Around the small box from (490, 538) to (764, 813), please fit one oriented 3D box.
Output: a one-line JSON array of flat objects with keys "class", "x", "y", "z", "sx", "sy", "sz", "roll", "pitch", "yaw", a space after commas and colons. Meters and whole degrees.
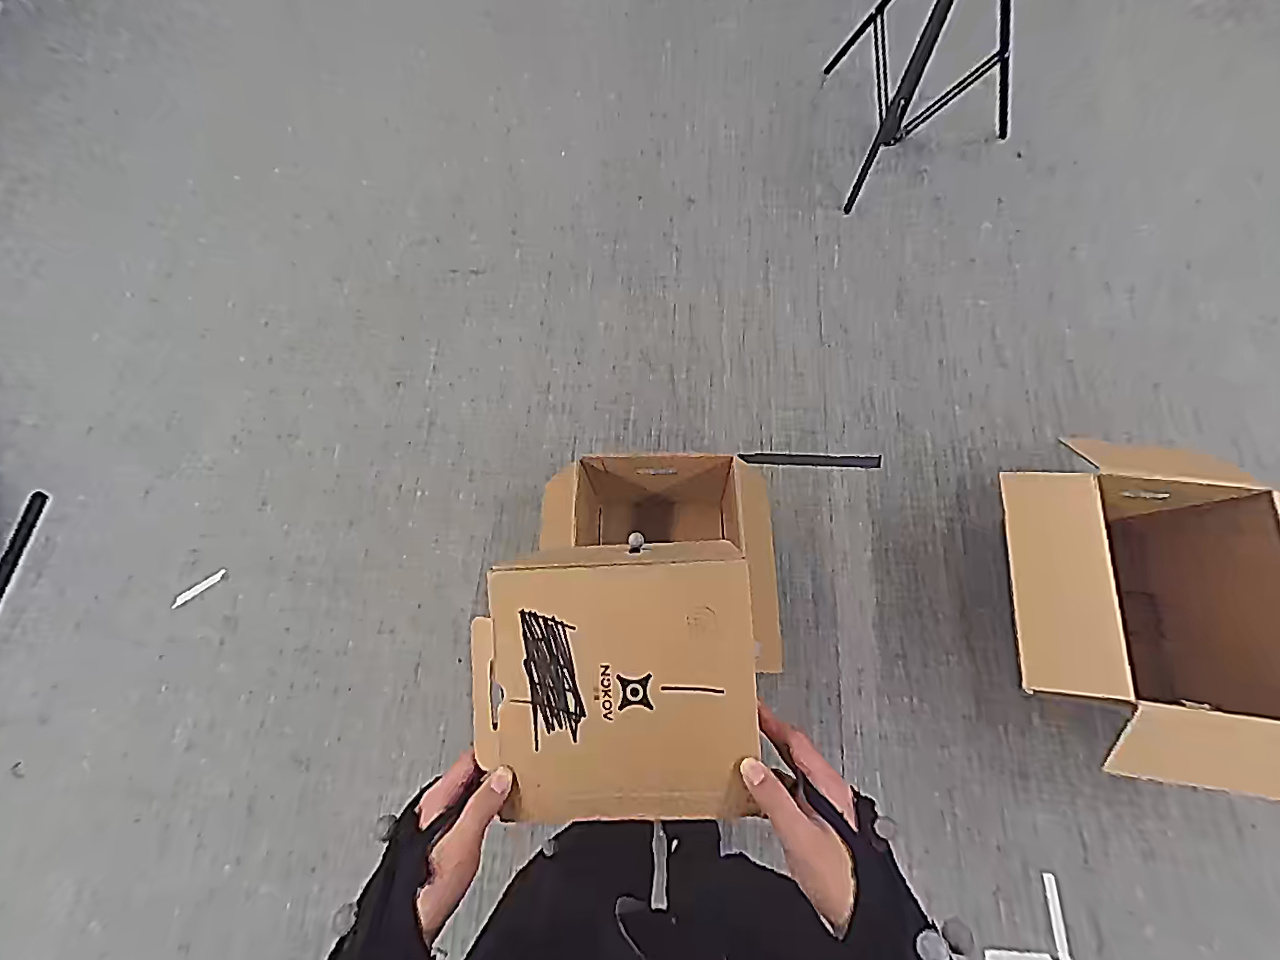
[{"class": "small box", "x": -0.005, "y": 0.134, "z": 0.429, "sx": 0.179, "sy": 0.176, "sz": 0.168, "roll": -3, "pitch": 87, "yaw": 4}]
